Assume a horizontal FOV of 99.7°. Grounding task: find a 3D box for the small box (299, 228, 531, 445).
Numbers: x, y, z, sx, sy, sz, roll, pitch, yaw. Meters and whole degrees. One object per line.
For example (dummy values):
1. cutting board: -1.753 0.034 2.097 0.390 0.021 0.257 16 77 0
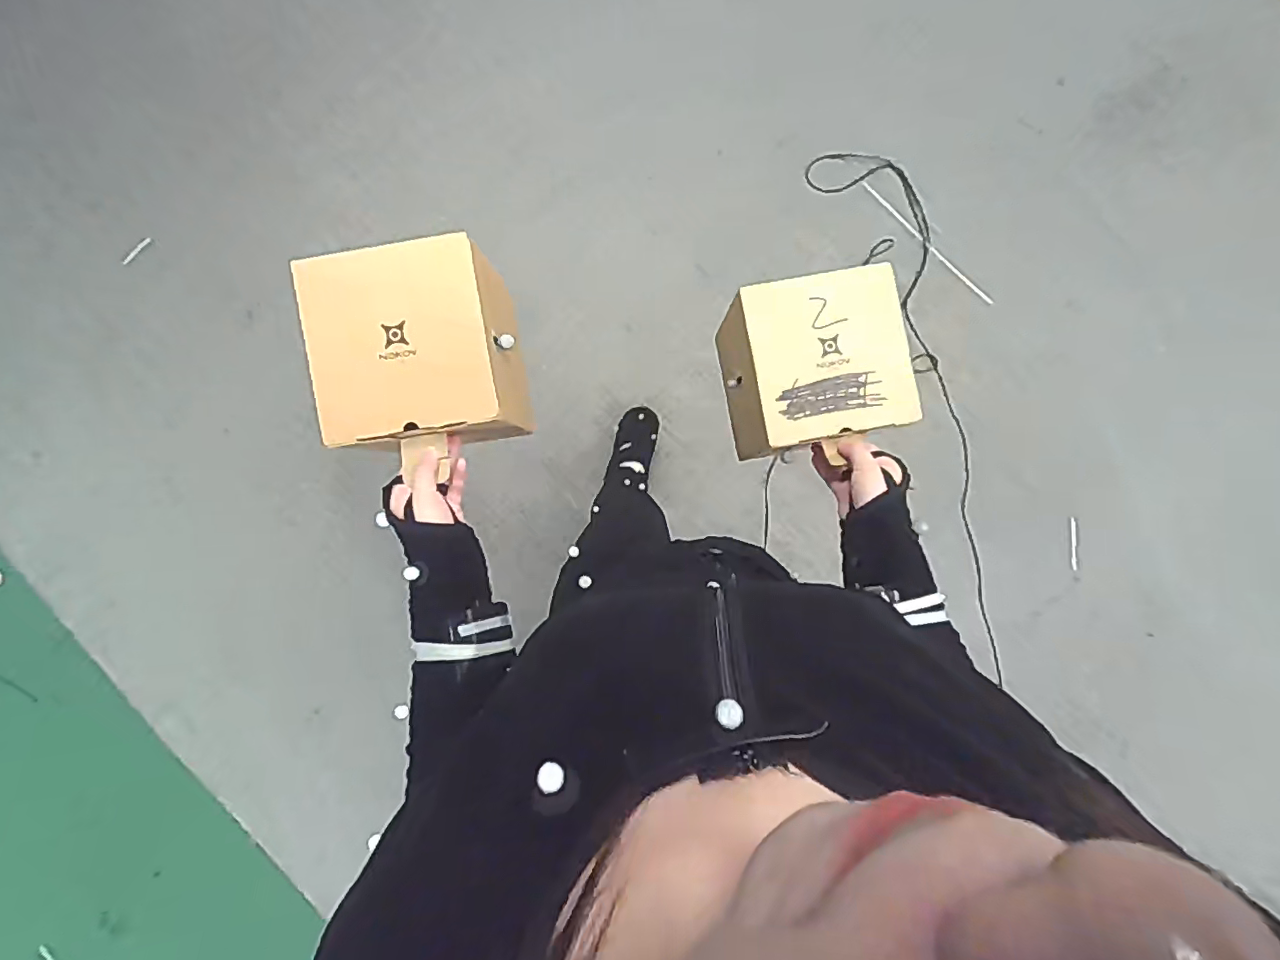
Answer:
1. small box: -0.220 -0.136 0.574 0.168 0.176 0.179 -9 92 0
